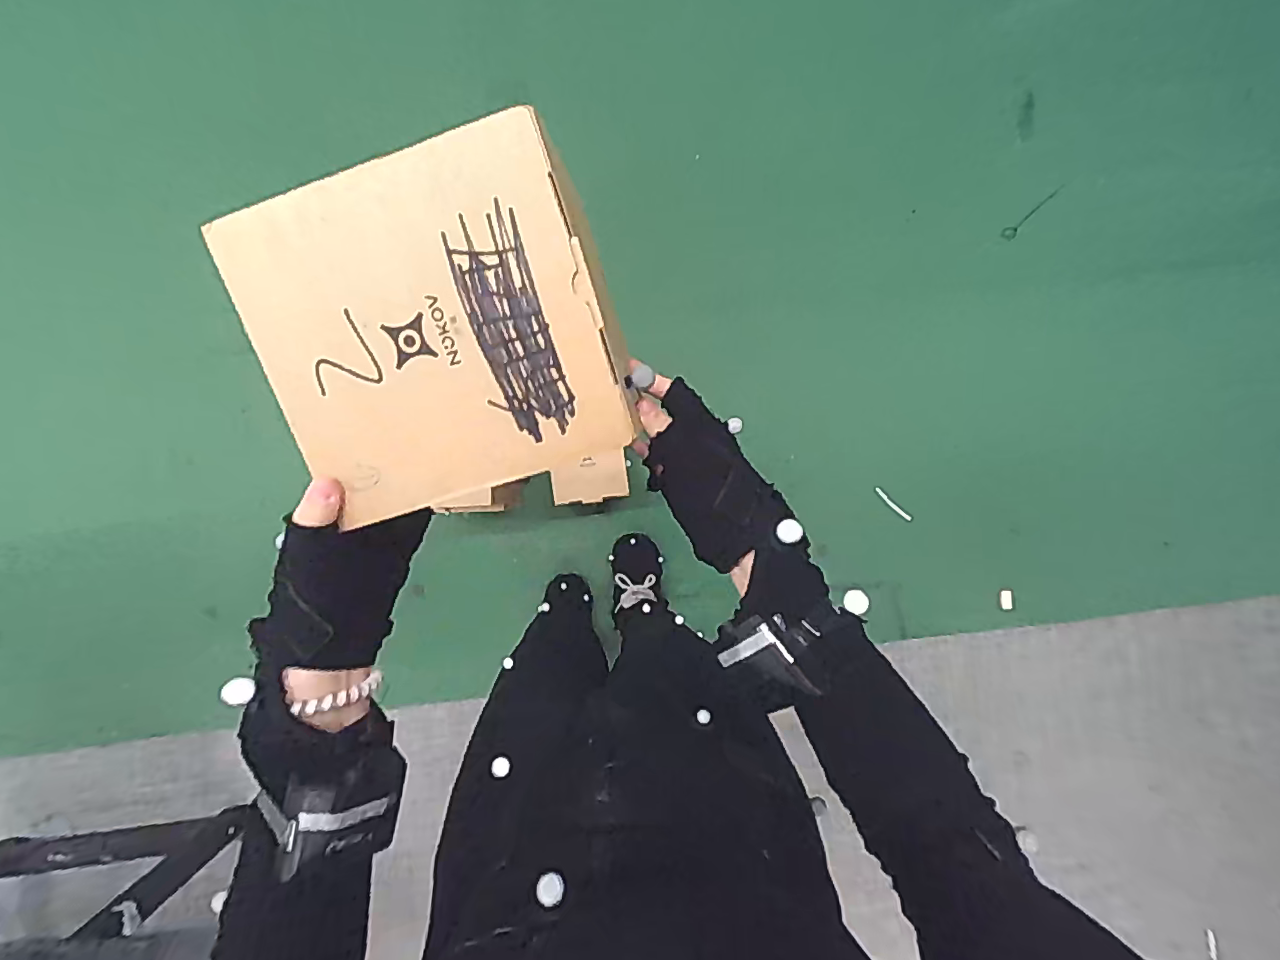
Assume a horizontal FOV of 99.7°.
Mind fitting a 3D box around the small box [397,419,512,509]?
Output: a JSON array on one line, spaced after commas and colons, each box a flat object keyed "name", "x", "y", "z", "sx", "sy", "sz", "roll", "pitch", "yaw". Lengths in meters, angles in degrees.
[{"name": "small box", "x": -0.363, "y": -0.027, "z": 1.080, "sx": 0.179, "sy": 0.176, "sz": 0.168, "roll": -2, "pitch": 89, "yaw": -1}]

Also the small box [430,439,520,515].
[{"name": "small box", "x": -0.374, "y": -0.012, "z": 1.245, "sx": 0.168, "sy": 0.176, "sz": 0.179, "roll": -1, "pitch": 88, "yaw": -1}]

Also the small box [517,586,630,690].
[{"name": "small box", "x": -0.156, "y": 0.353, "z": 1.238, "sx": 0.179, "sy": 0.176, "sz": 0.168, "roll": 28, "pitch": 91, "yaw": 24}]
